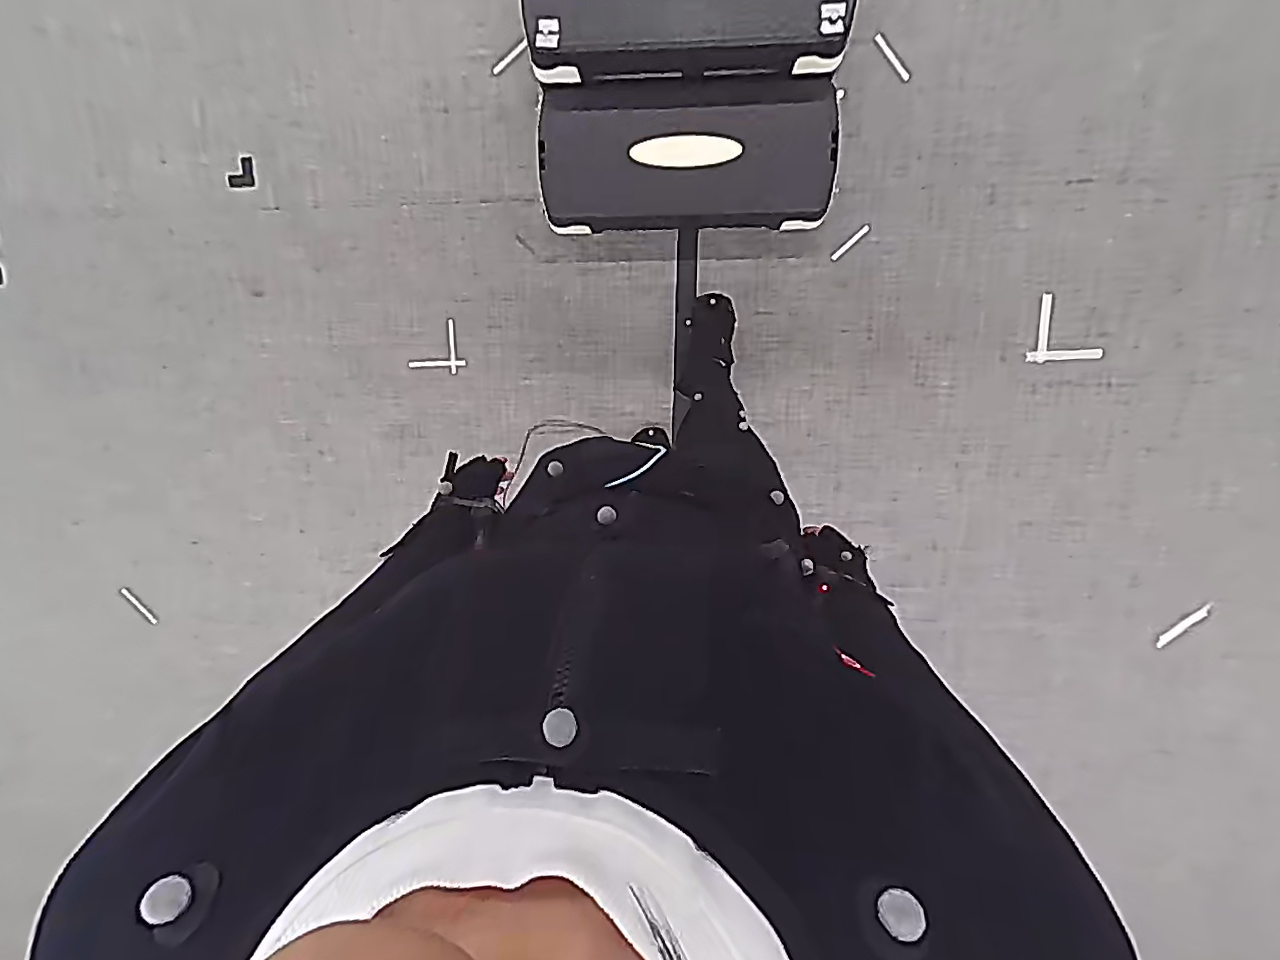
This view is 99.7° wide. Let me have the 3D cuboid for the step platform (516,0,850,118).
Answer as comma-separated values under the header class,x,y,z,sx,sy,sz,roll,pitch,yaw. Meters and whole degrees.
class,x,y,z,sx,sy,sz,roll,pitch,yaw
step platform,0.084,-0.981,1.145,0.684,0.204,0.286,0,101,3
